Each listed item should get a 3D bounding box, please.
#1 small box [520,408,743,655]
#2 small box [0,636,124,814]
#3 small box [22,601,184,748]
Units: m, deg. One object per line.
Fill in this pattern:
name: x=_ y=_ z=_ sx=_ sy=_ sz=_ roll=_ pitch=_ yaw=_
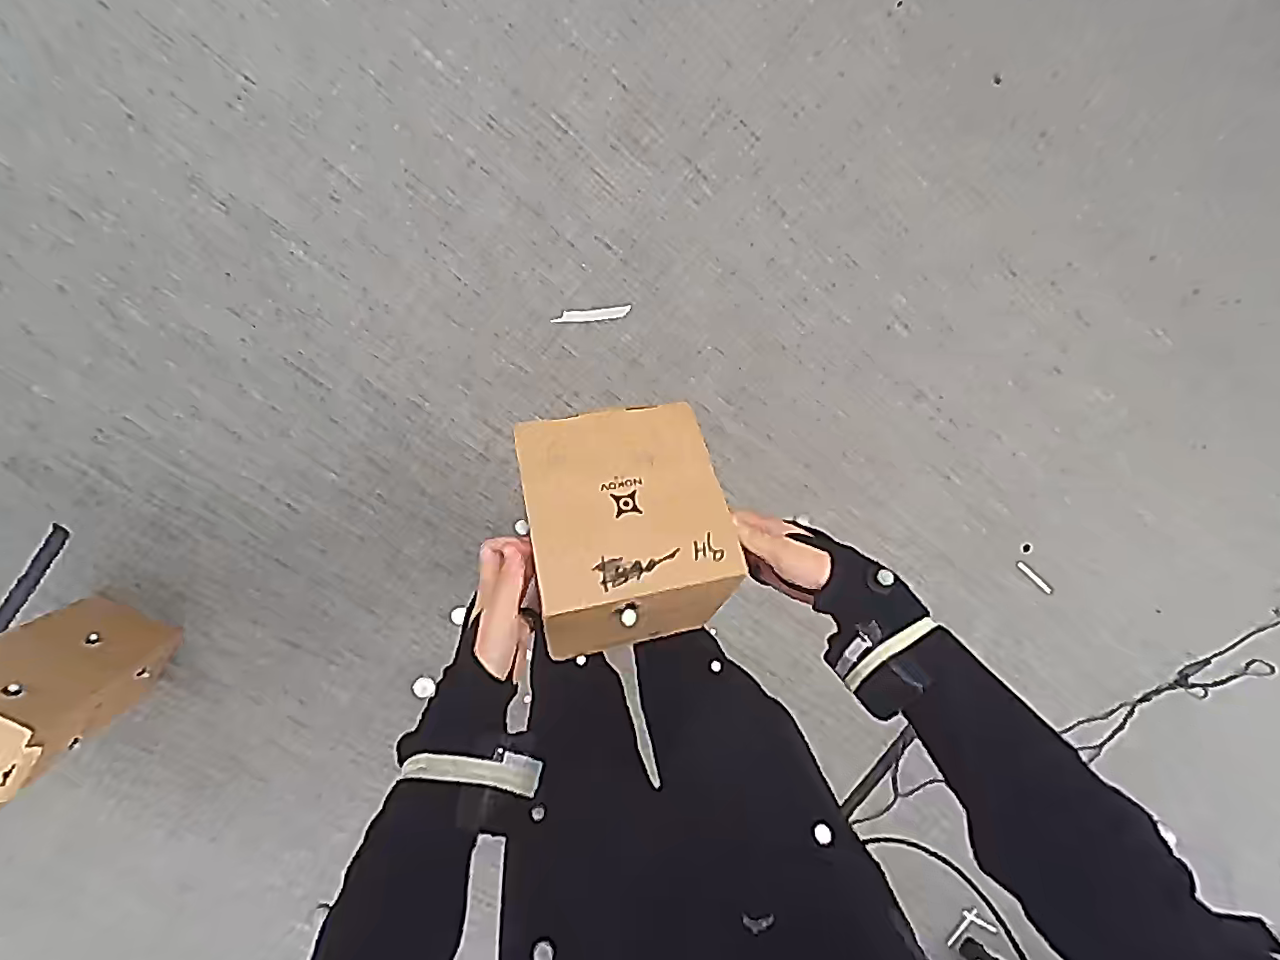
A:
small box: x=-0.022 y=0.054 z=0.526 sx=0.168 sy=0.176 sz=0.179 roll=-8 pitch=63 yaw=-12
small box: x=-0.992 y=0.375 z=0.852 sx=0.179 sy=0.176 sz=0.168 roll=33 pitch=92 yaw=-13
small box: x=-1.022 y=0.352 z=1.013 sx=0.179 sy=0.176 sz=0.168 roll=32 pitch=92 yaw=-12
